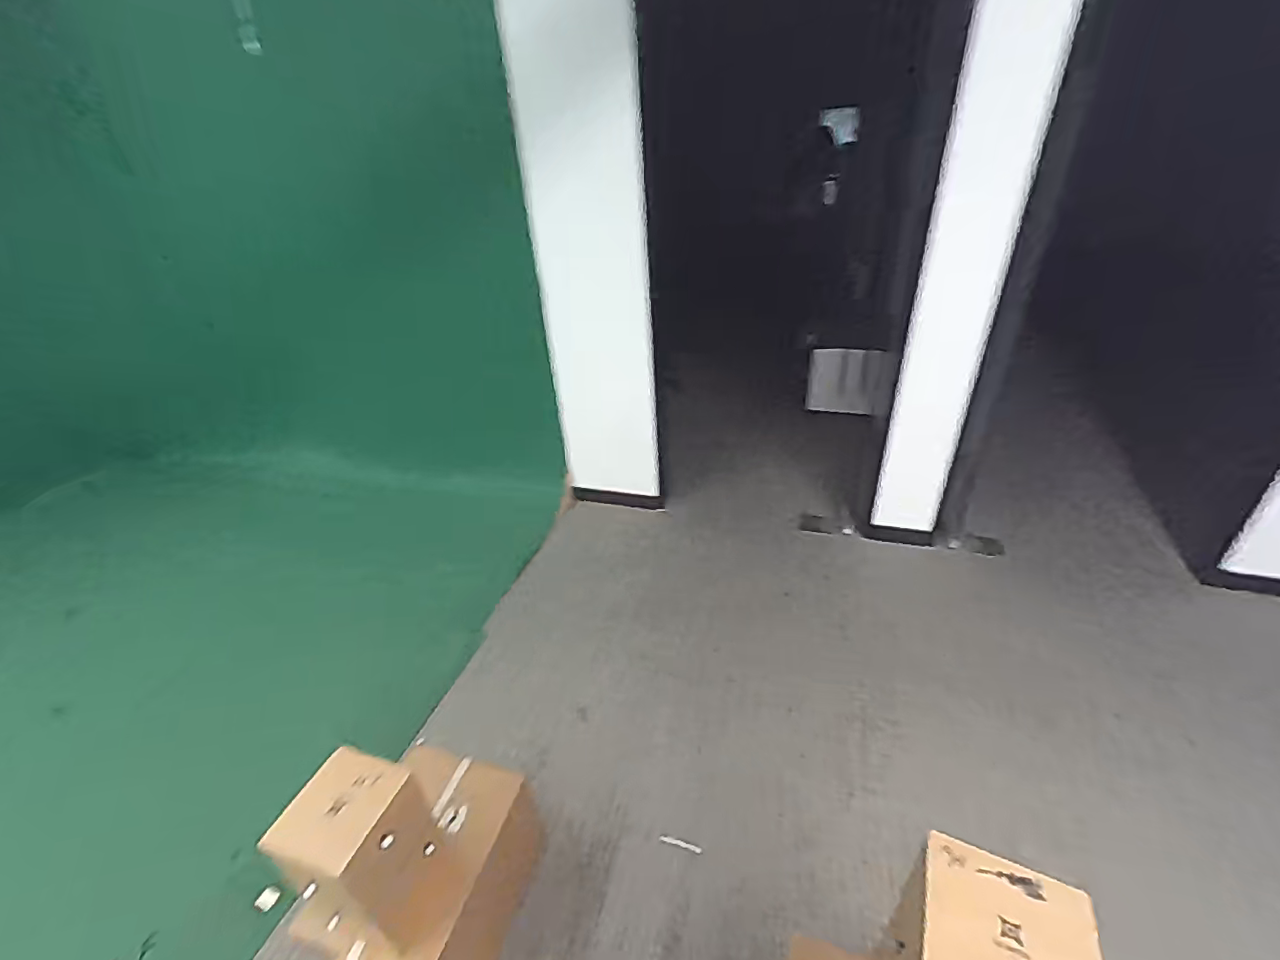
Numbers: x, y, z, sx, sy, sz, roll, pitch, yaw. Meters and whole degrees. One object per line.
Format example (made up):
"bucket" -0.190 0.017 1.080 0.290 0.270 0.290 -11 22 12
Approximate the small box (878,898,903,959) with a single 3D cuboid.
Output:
"small box" 0.406 0.704 0.698 0.179 0.176 0.168 13 33 26

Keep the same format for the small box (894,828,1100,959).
"small box" 0.398 0.560 0.618 0.168 0.176 0.179 14 34 24

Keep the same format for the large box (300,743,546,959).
"large box" -0.456 0.906 1.241 0.320 0.320 0.408 7 32 16

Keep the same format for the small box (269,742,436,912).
"small box" -0.488 0.607 0.950 0.168 0.176 0.179 8 33 18

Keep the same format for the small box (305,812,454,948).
"small box" -0.486 0.746 1.040 0.168 0.176 0.179 8 33 18
